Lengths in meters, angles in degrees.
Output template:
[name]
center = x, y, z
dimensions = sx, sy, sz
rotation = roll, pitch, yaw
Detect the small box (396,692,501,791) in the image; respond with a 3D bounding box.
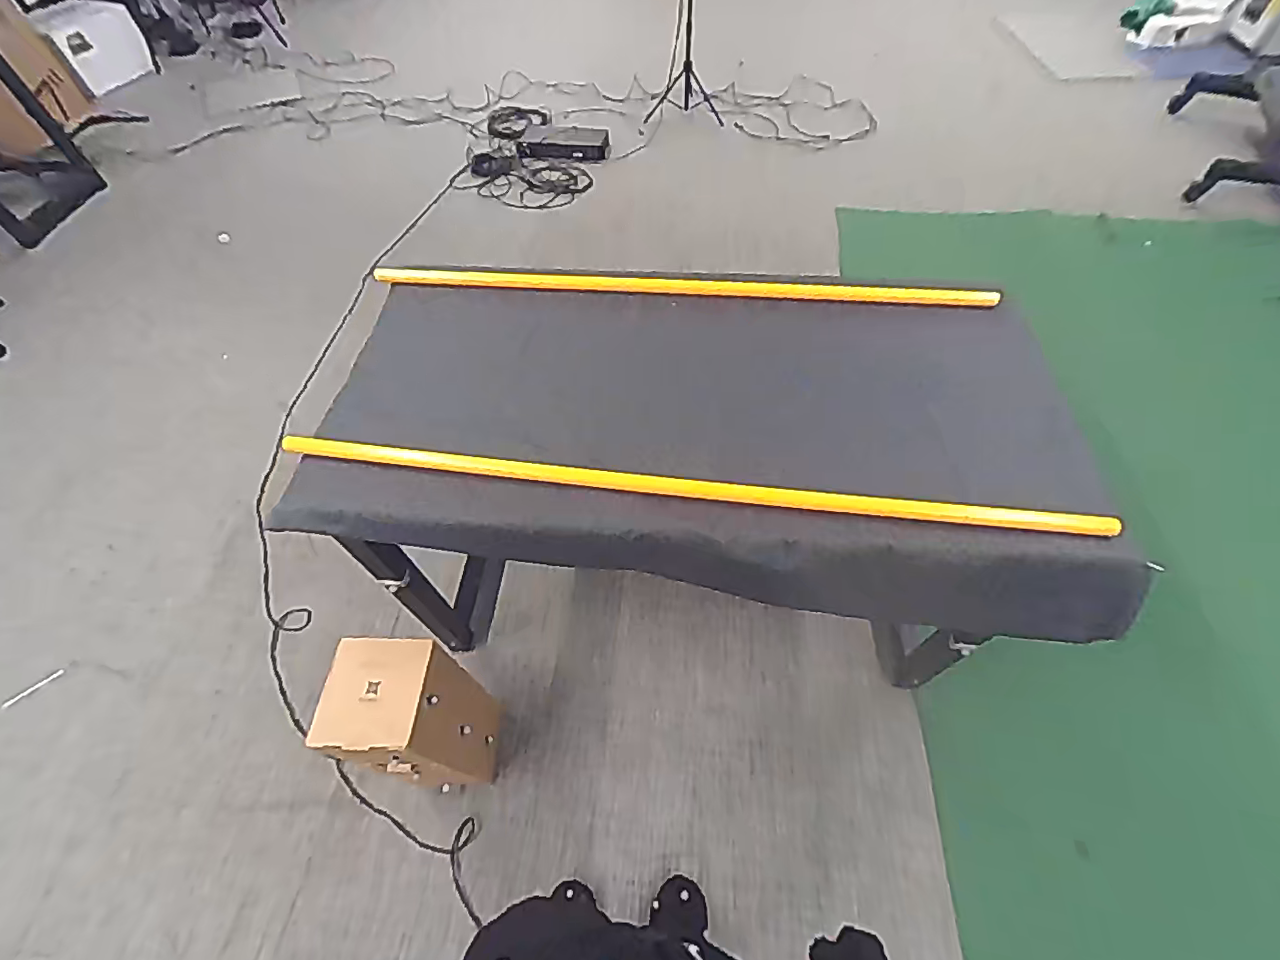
[small box]
center = -0.418, 0.589, 1.215
dimensions = 0.168, 0.176, 0.179
rotation = -3, 55, 1
